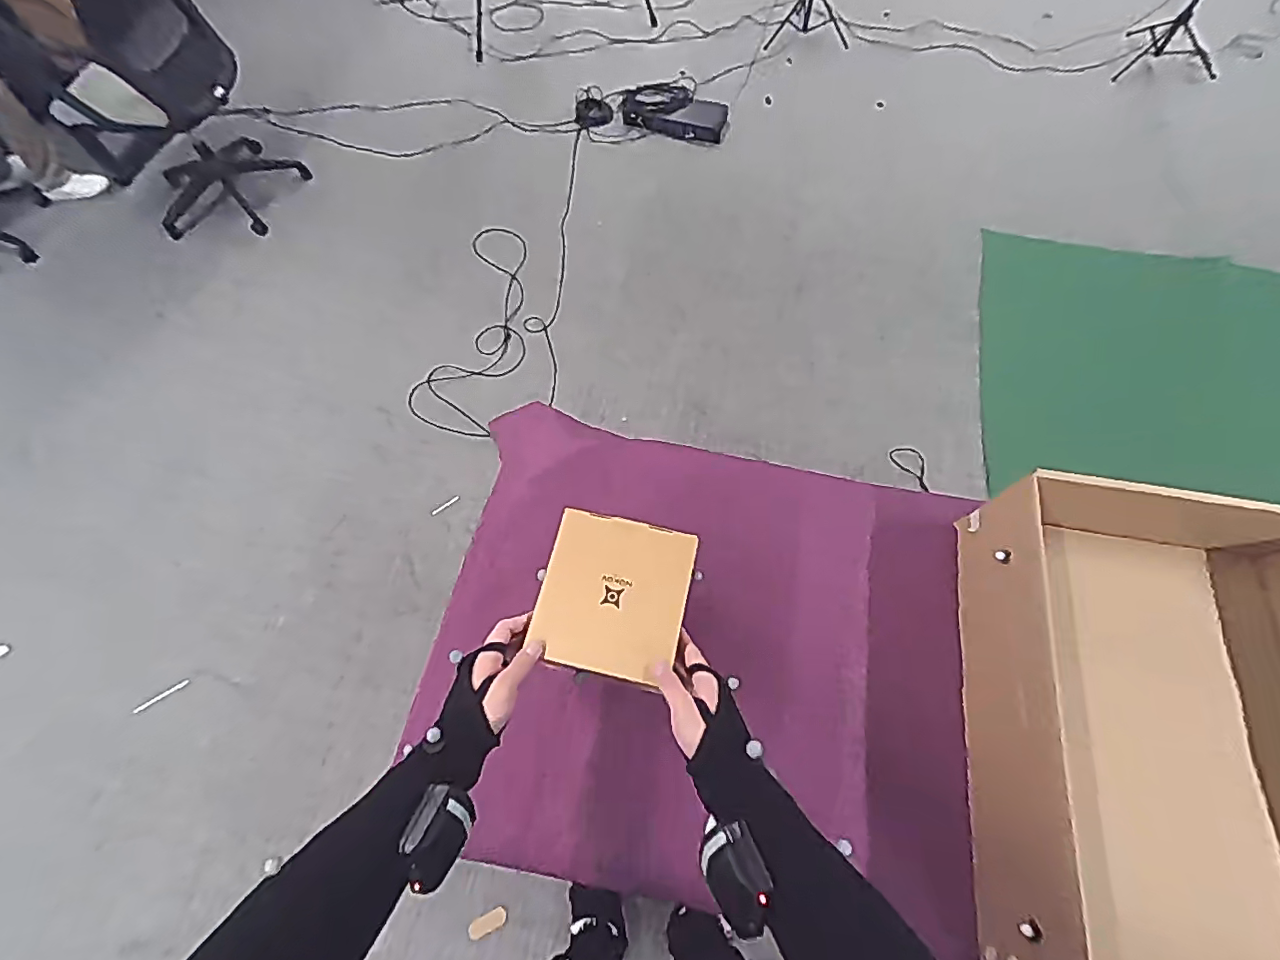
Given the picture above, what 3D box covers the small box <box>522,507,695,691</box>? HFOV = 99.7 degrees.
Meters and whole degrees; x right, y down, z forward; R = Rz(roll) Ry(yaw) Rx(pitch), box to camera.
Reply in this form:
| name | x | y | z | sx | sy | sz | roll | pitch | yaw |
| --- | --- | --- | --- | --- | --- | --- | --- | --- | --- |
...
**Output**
| name | x | y | z | sx | sy | sz | roll | pitch | yaw |
| --- | --- | --- | --- | --- | --- | --- | --- | --- | --- |
| small box | -0.030 | 0.159 | 0.685 | 0.168 | 0.176 | 0.179 | 11 | 66 | 6 |
